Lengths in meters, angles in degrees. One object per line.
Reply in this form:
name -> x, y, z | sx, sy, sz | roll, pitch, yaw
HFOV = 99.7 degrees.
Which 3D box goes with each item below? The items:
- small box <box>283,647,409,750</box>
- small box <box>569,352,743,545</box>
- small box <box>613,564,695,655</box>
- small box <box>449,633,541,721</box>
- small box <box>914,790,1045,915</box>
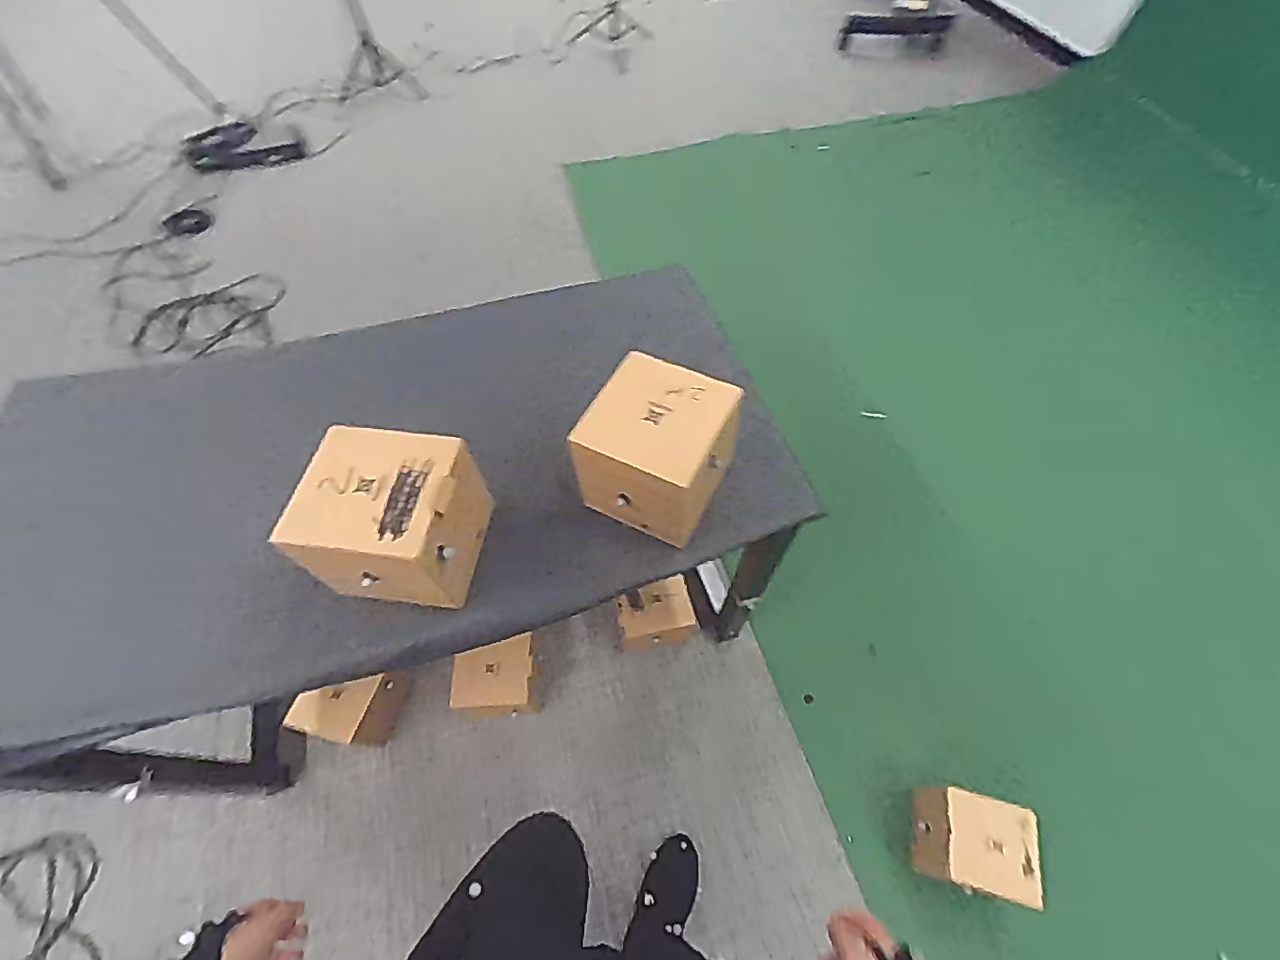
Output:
small box -> -0.673, 0.516, 1.265 | 0.168, 0.176, 0.179 | 13, 59, 8
small box -> 0.027, -0.038, 0.747 | 0.168, 0.176, 0.179 | 24, 61, 16
small box -> 0.032, 0.334, 1.378 | 0.179, 0.176, 0.168 | -10, 60, -7
small box -> -0.337, 0.473, 1.292 | 0.179, 0.176, 0.168 | -4, 58, -1
small box -> 0.693, 0.767, 1.125 | 0.179, 0.176, 0.168 | 14, 59, 9
